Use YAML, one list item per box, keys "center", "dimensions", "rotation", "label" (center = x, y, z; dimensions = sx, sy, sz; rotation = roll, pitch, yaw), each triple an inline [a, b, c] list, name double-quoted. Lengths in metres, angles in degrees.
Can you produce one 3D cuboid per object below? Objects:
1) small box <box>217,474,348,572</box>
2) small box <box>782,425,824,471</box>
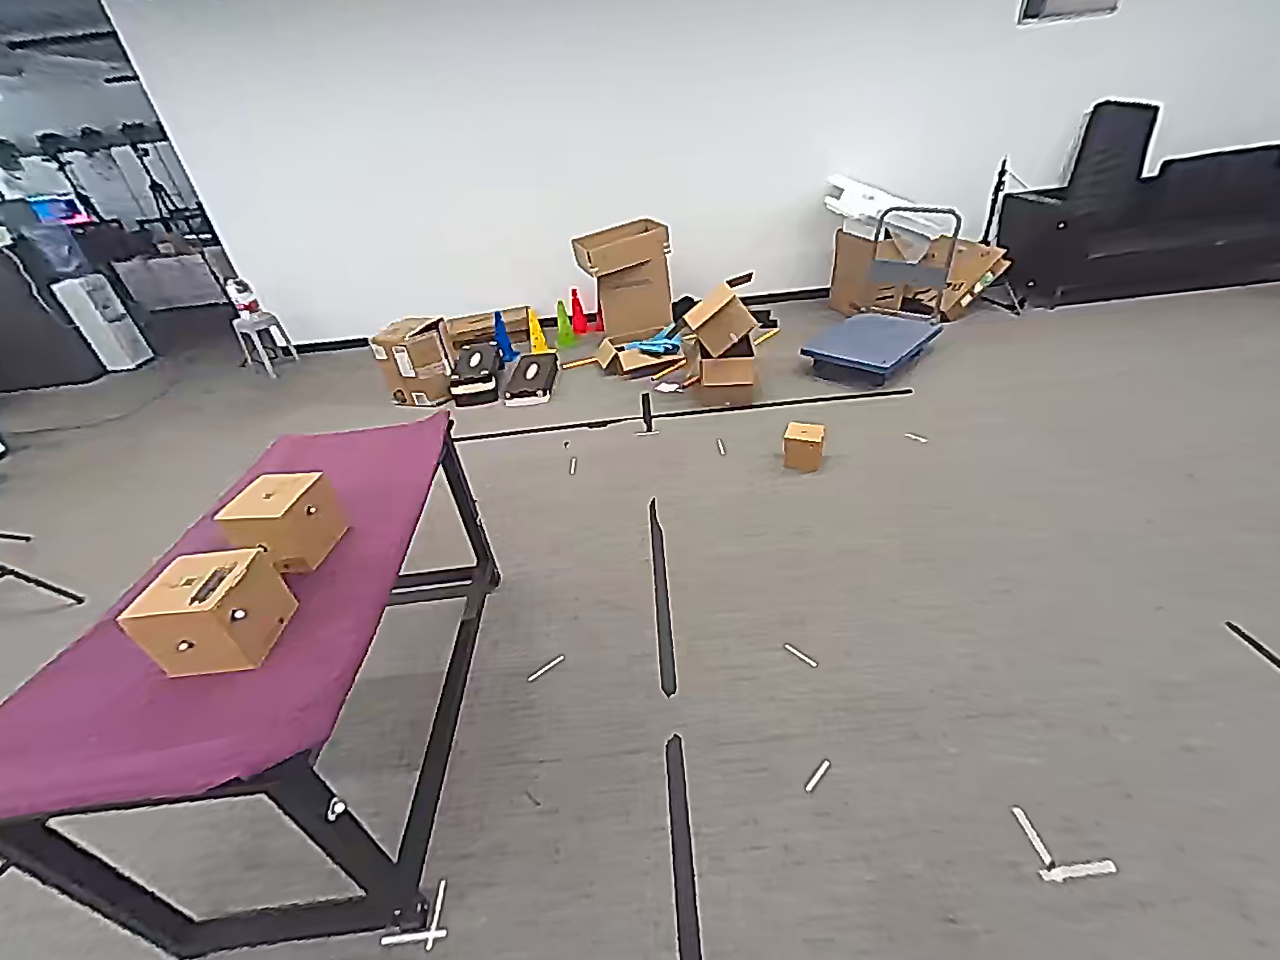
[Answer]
- center: [-0.834, 0.104, 1.286]
  dimensions: [0.168, 0.176, 0.179]
  rotation: [-2, 34, 7]
  label: "small box"
- center: [0.815, -0.158, 2.709]
  dimensions: [0.179, 0.176, 0.168]
  rotation: [9, 37, 21]
  label: "small box"
